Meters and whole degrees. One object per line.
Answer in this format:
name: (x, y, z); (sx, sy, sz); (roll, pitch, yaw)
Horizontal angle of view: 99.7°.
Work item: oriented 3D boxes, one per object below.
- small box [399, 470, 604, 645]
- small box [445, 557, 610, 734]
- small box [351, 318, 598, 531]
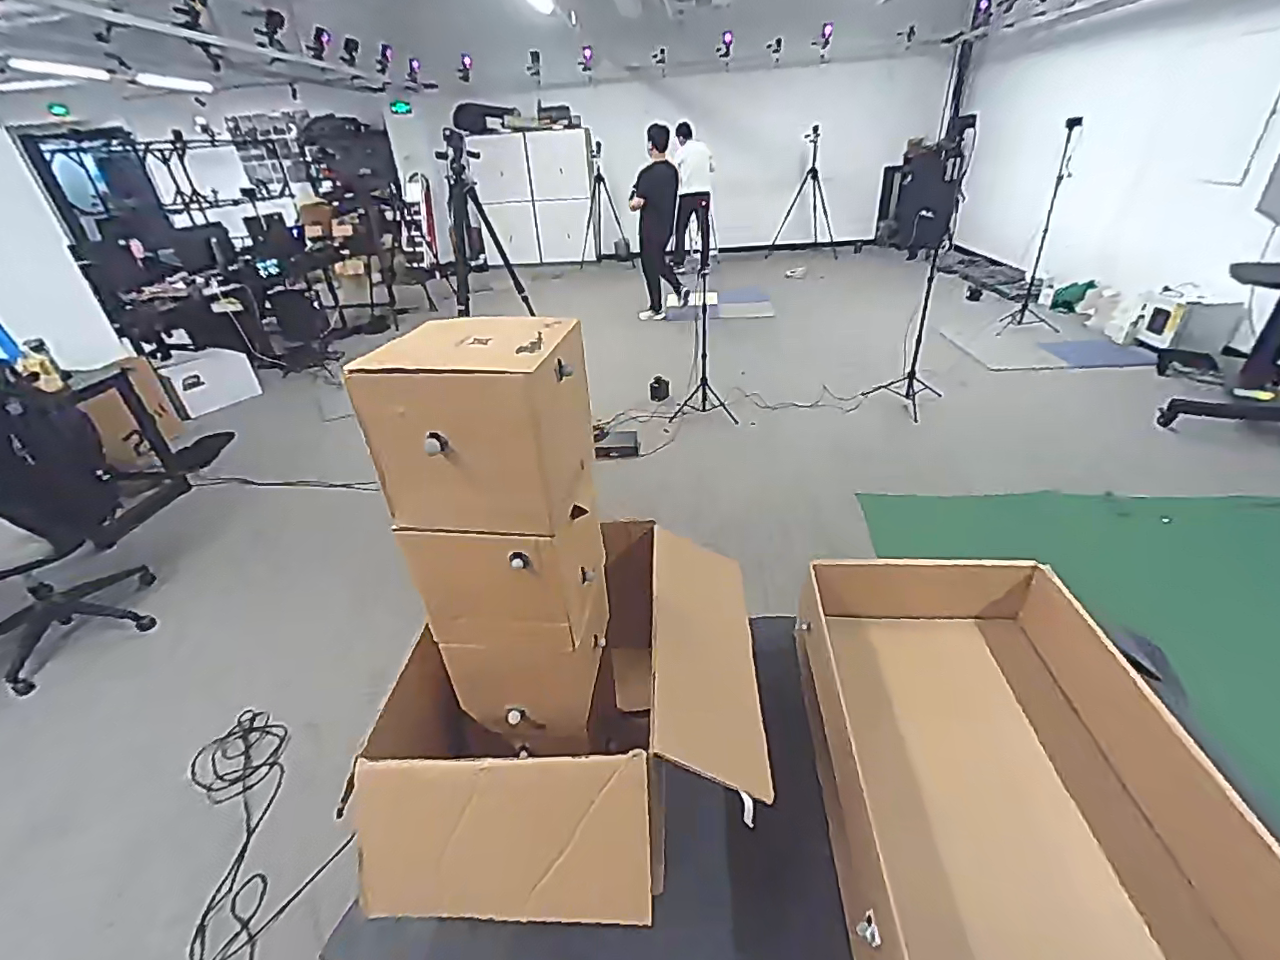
small box: (-0.149, 0.078, 0.651); (0.179, 0.176, 0.168); (2, 32, 8)
small box: (-0.137, 0.213, 0.739); (0.168, 0.176, 0.179); (1, 34, 8)
small box: (-0.151, -0.061, 0.563); (0.179, 0.176, 0.168); (2, 33, 9)
